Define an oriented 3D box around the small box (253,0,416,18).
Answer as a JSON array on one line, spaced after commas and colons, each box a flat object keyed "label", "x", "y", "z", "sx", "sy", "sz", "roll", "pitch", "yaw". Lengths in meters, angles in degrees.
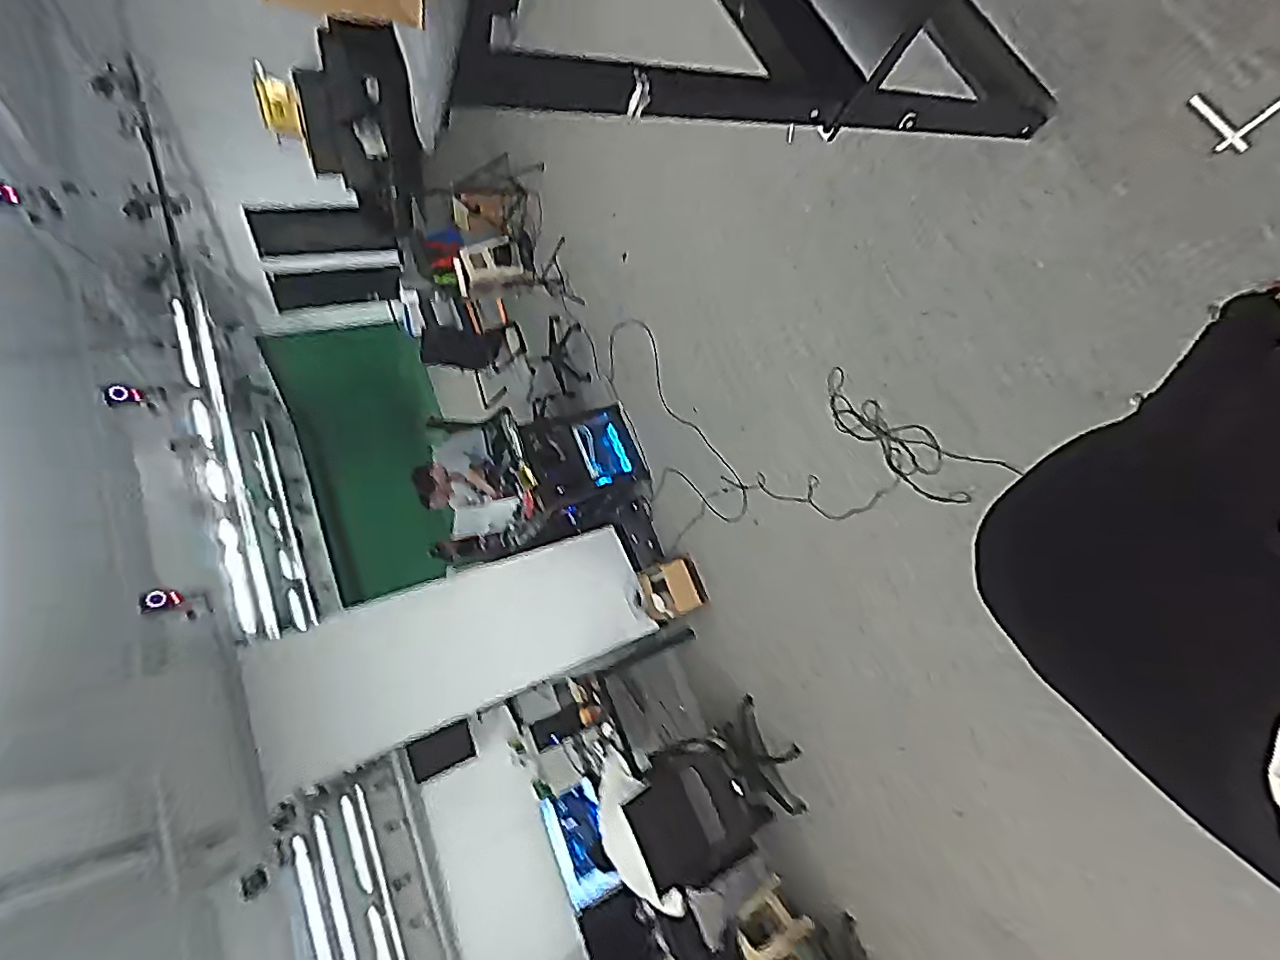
[{"label": "small box", "x": -0.342, "y": -0.626, "z": 0.563, "sx": 0.179, "sy": 0.176, "sz": 0.168, "roll": 64, "pitch": 151, "yaw": 18}]
